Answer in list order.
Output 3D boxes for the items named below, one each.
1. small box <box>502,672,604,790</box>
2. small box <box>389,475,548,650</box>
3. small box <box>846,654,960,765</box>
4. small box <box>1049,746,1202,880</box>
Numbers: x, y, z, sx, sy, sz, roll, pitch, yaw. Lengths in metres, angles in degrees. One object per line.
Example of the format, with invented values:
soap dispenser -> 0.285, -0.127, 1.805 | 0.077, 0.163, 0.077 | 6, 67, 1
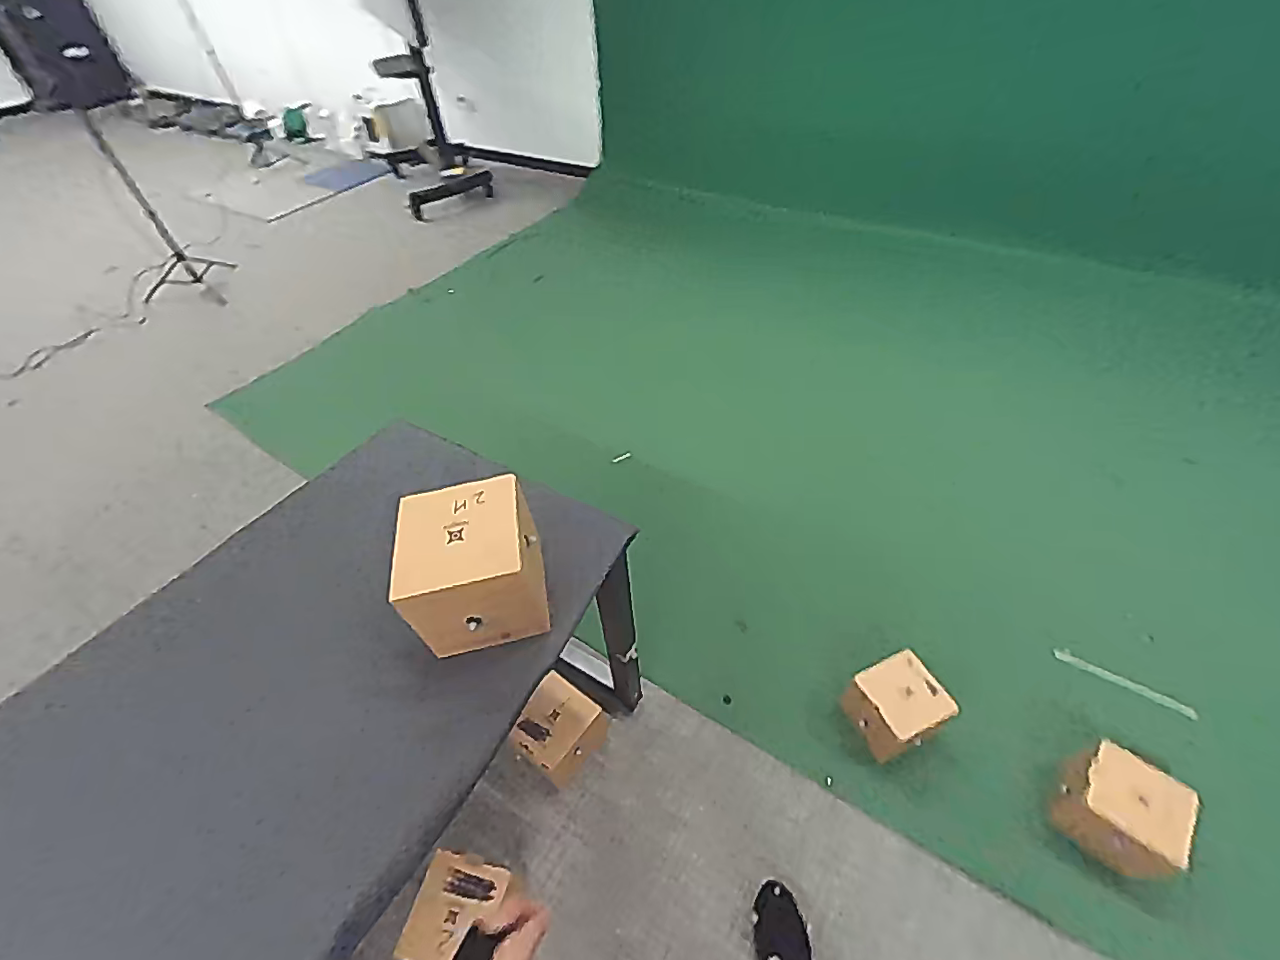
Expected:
small box -> -0.201, 0.612, 1.313 | 0.168, 0.176, 0.179 | 29, 54, 26
small box -> -0.232, 0.124, 0.767 | 0.168, 0.176, 0.179 | -12, 48, -4
small box -> 0.626, 0.563, 1.320 | 0.179, 0.176, 0.168 | -19, 49, -14
small box -> 1.028, 0.717, 1.157 | 0.179, 0.176, 0.168 | 32, 57, 27
